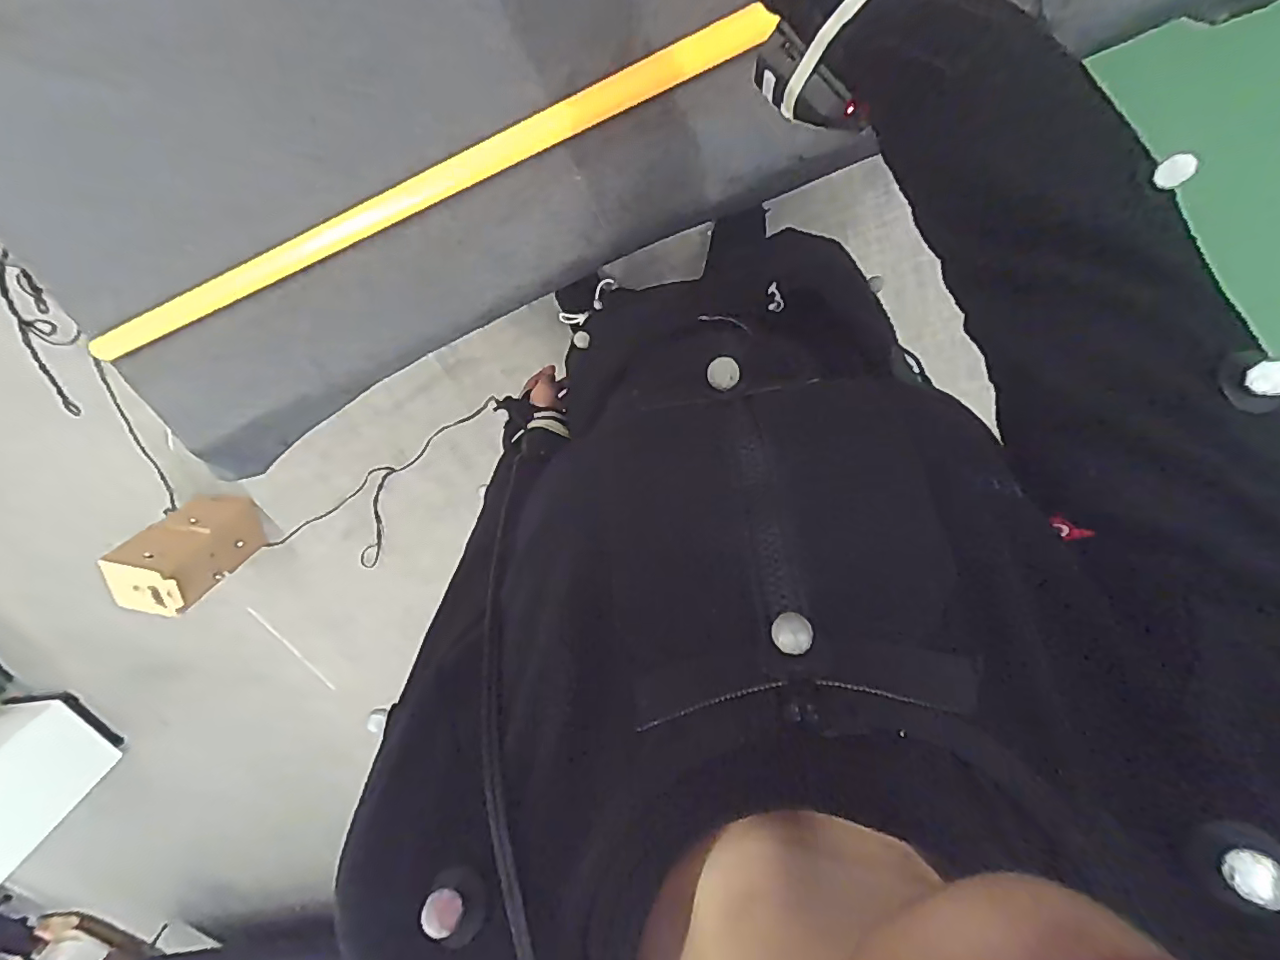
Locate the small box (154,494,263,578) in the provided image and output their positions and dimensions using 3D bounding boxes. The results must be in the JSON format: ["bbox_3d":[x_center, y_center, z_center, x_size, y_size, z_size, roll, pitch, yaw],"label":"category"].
[{"bbox_3d":[-1.289,0.167,1.633,0.168,0.176,0.179,6,120,3],"label":"small box"}]

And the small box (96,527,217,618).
[{"bbox_3d":[-1.316,0.250,1.493,0.179,0.176,0.168,11,120,1],"label":"small box"}]
